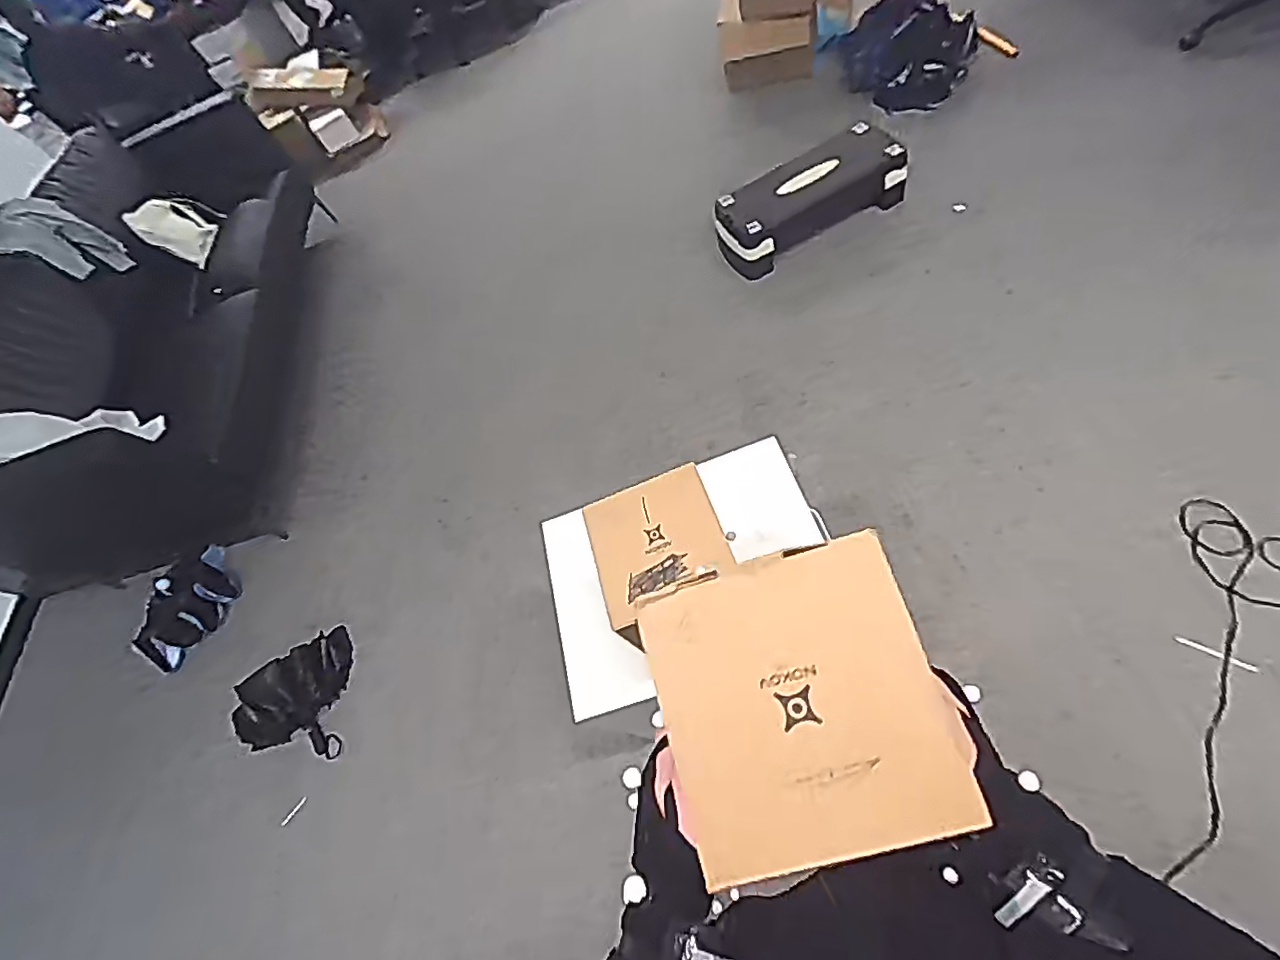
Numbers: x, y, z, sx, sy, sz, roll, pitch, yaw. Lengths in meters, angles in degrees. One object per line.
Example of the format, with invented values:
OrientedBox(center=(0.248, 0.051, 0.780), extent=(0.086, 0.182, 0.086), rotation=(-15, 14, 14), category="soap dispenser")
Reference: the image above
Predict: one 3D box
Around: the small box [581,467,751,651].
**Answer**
OrientedBox(center=(0.040, 0.119, 0.738), extent=(0.168, 0.176, 0.179), rotation=(-23, 56, 5), category="small box")
